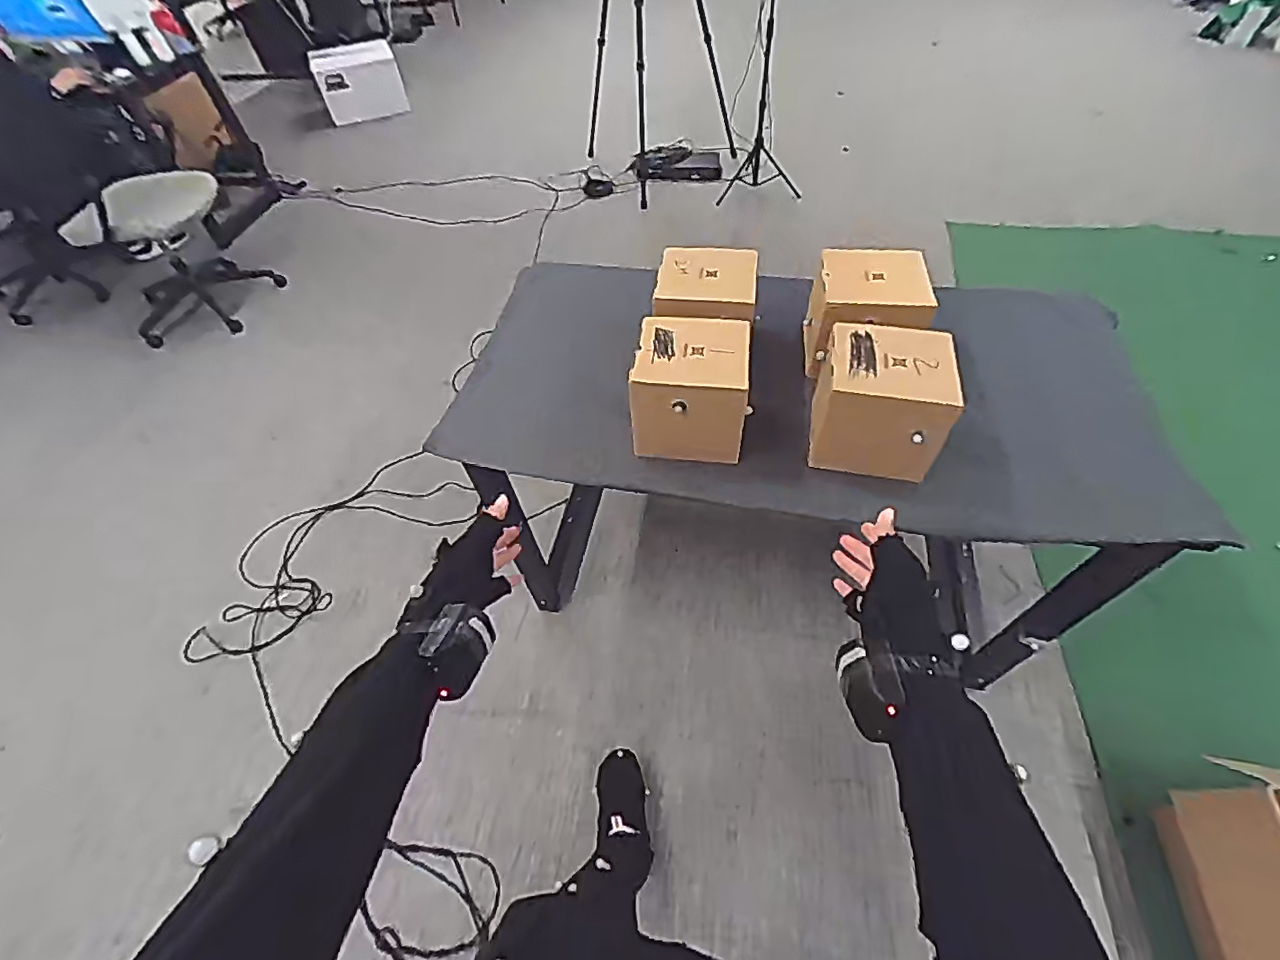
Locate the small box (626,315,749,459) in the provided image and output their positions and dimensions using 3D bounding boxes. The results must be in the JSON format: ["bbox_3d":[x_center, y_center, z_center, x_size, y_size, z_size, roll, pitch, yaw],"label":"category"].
[{"bbox_3d":[0.081,-0.150,0.891,0.179,0.176,0.168,5,52,8],"label":"small box"}]
